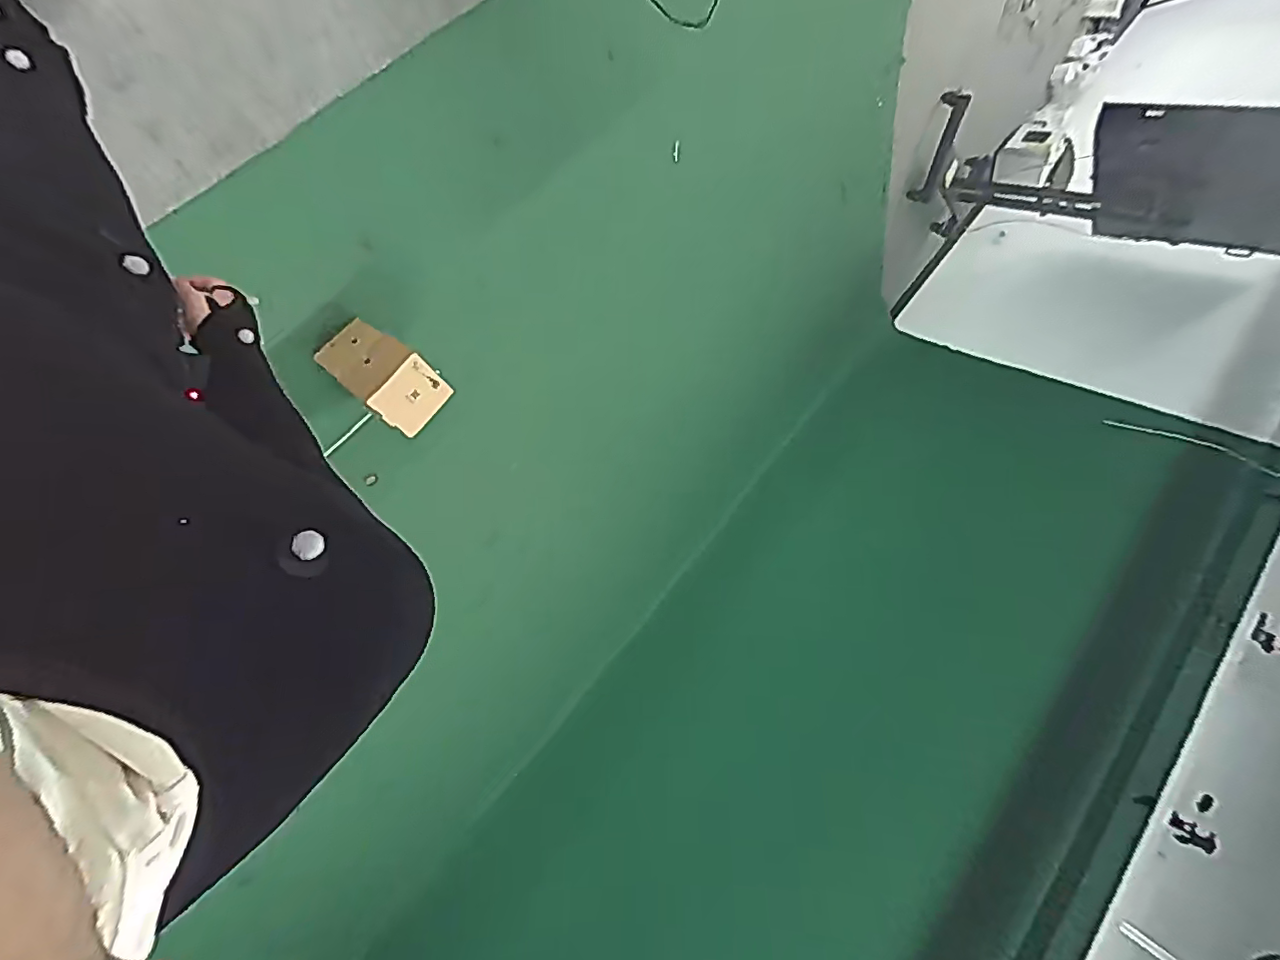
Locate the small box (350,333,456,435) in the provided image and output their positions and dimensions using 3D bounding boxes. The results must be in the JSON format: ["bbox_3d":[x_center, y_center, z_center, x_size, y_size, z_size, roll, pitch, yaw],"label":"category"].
[{"bbox_3d":[-0.634,-0.257,1.433,0.179,0.176,0.168,-50,146,-11],"label":"small box"}]

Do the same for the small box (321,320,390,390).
[{"bbox_3d":[-0.752,-0.328,1.522,0.168,0.176,0.179,-49,146,-13],"label":"small box"}]
